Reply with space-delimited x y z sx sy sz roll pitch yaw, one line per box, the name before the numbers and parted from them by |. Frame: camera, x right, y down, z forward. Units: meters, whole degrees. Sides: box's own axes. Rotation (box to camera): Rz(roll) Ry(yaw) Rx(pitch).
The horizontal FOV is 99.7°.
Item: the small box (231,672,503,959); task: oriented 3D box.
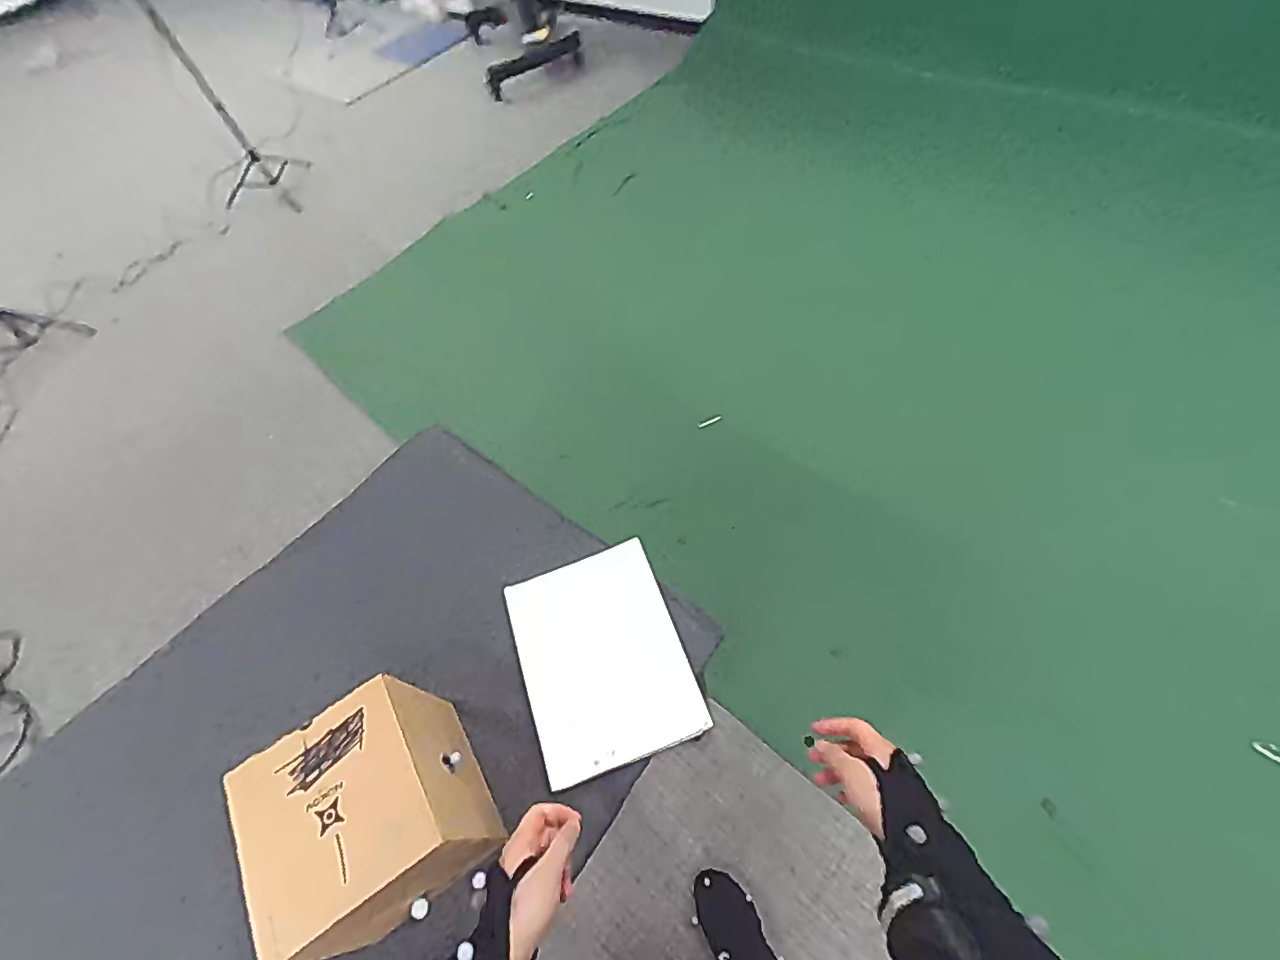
small box | -0.271 0.337 0.562 0.168 0.176 0.179 -33 60 -12
